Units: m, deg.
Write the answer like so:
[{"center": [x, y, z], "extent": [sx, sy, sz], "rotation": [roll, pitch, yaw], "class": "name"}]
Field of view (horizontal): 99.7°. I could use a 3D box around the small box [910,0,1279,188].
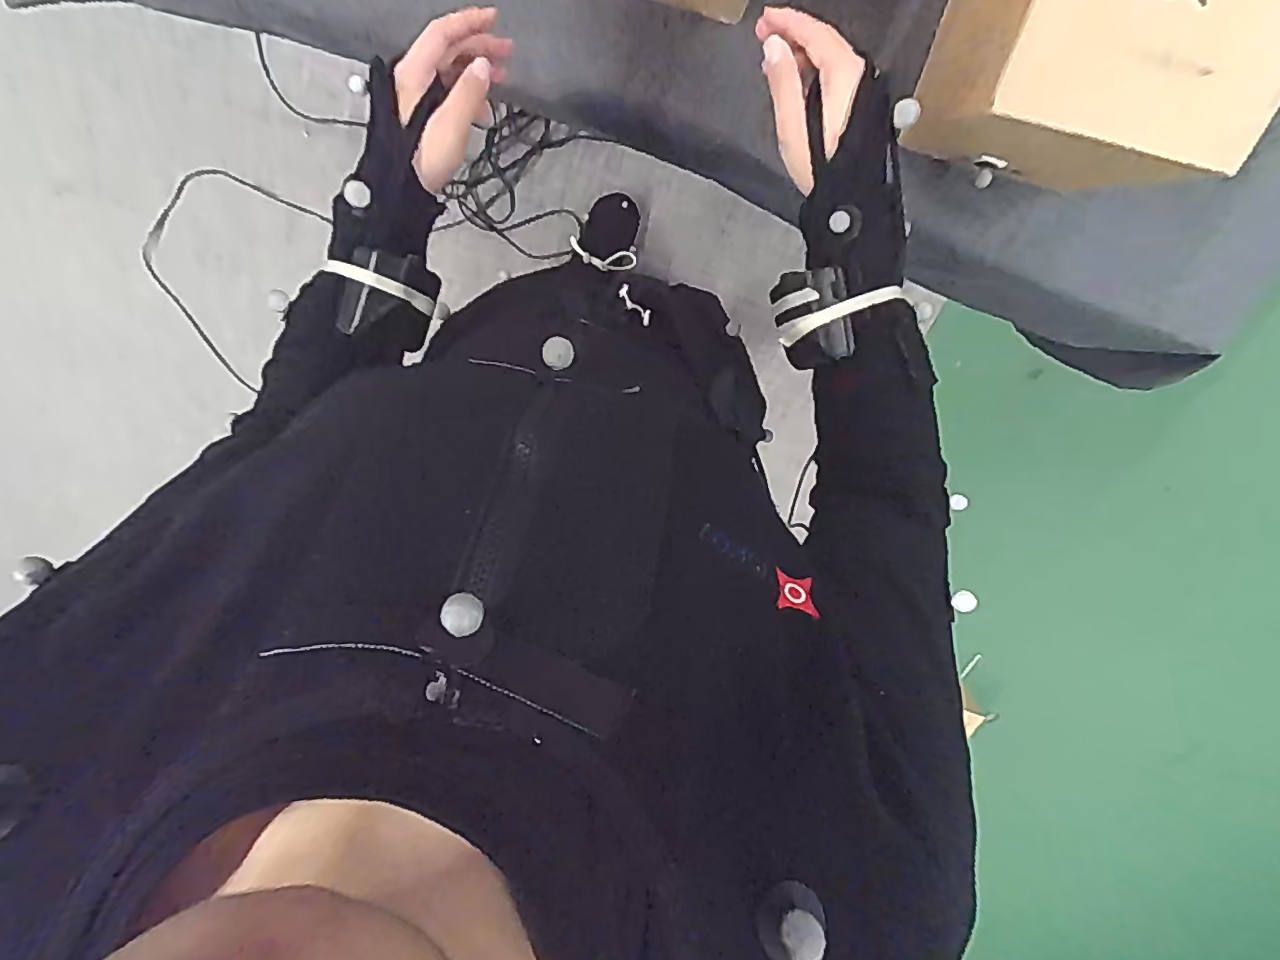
[{"center": [0.322, -0.322, 0.377], "extent": [0.168, 0.176, 0.179], "rotation": [13, 115, -1], "class": "small box"}]
